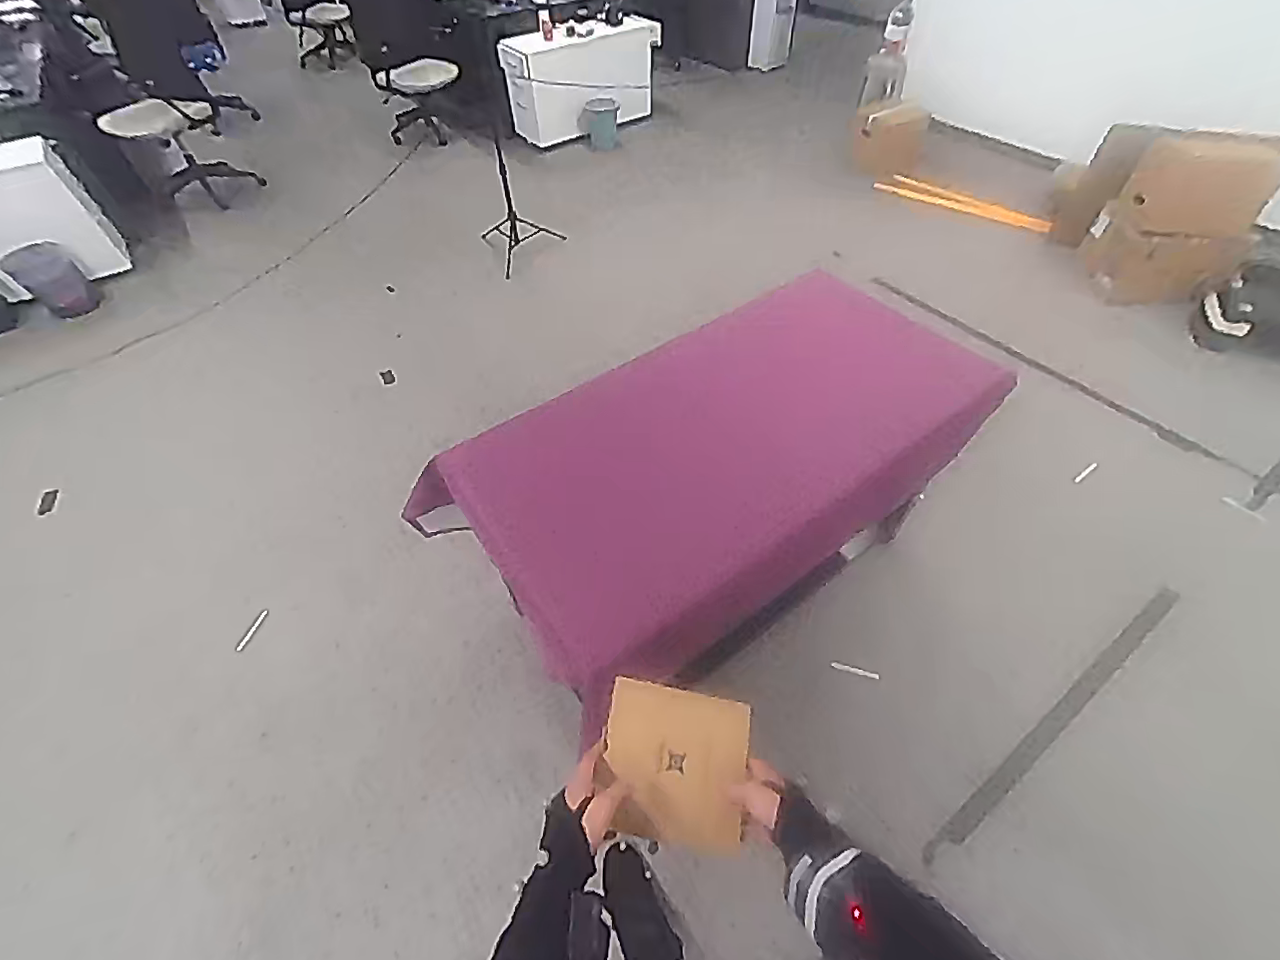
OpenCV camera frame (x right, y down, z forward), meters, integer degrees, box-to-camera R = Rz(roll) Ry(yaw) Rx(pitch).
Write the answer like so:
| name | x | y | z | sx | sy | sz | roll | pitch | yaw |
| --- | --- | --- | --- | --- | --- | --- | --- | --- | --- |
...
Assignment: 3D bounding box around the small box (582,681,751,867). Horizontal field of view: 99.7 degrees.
| name | x | y | z | sx | sy | sz | roll | pitch | yaw |
| --- | --- | --- | --- | --- | --- | --- | --- | --- | --- |
| small box | 0.034 | 0.378 | 0.703 | 0.179 | 0.176 | 0.168 | 11 | 60 | 4 |
